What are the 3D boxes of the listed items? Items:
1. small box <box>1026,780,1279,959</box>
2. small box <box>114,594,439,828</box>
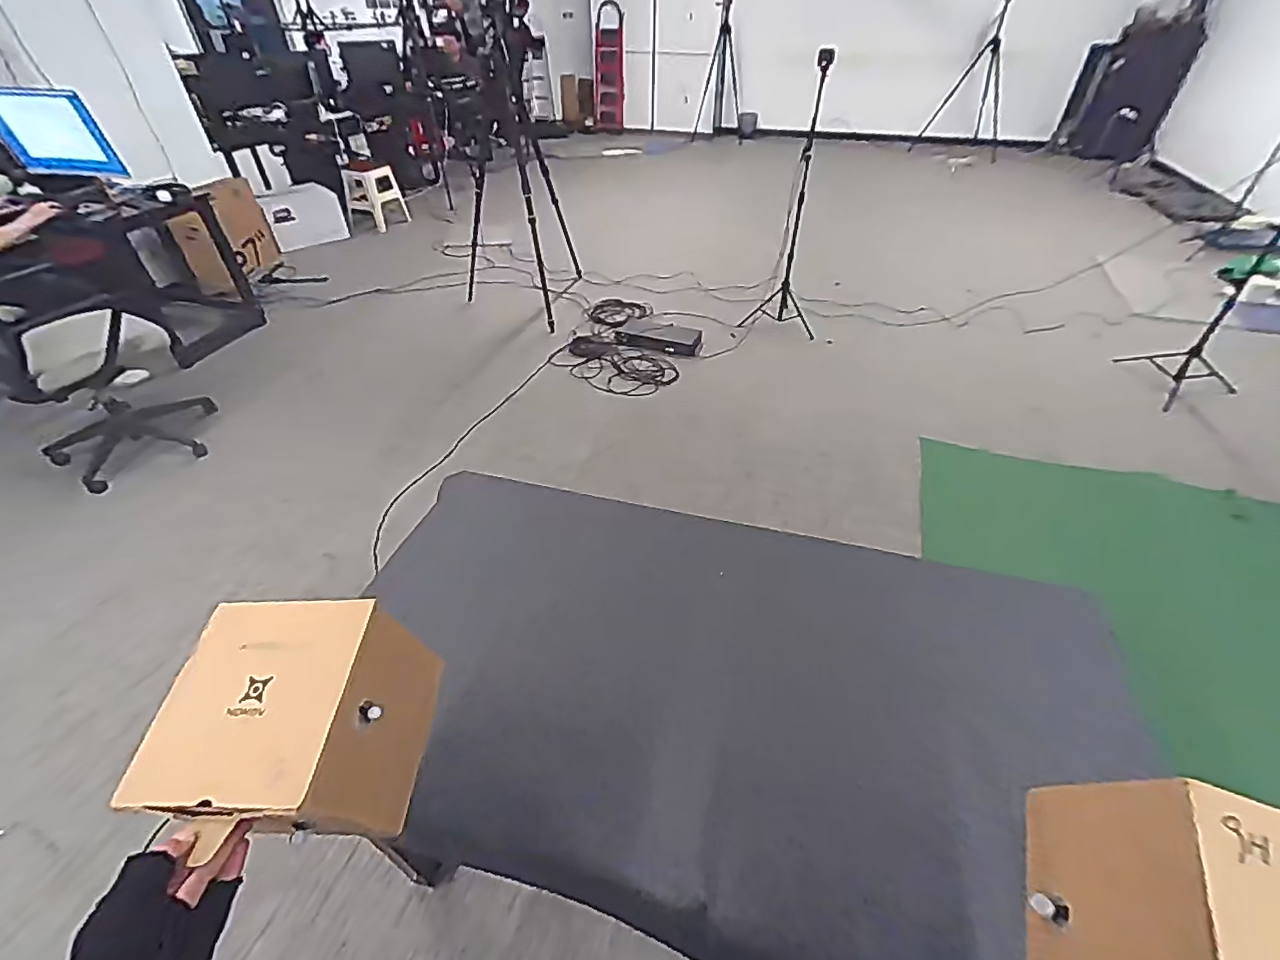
[{"bbox_3d":[0.389,0.322,0.354,0.168,0.176,0.179,18,61,10],"label":"small box"},{"bbox_3d":[-0.319,0.228,0.526,0.168,0.176,0.179,-2,51,5],"label":"small box"}]
